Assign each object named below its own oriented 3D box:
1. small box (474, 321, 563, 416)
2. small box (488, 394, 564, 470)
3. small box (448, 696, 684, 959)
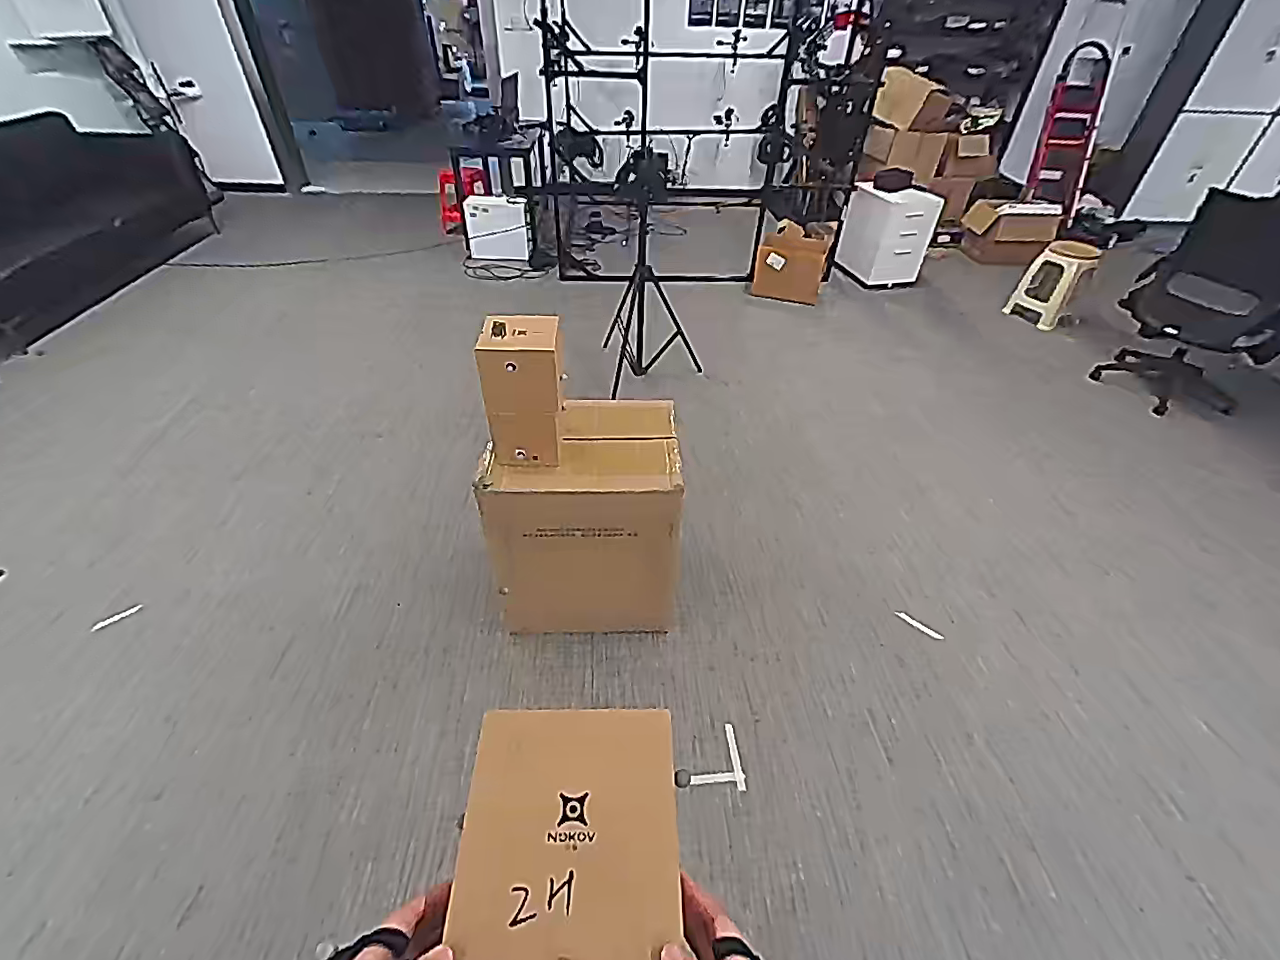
[{"bbox_3d":[-0.283,-0.266,1.297,0.179,0.176,0.168,0,42,-3],"label":"small box"},{"bbox_3d":[-0.288,-0.145,1.408,0.168,0.176,0.179,-1,43,-2],"label":"small box"},{"bbox_3d":[-0.054,0.315,0.484,0.168,0.176,0.179,0,44,-2],"label":"small box"}]
